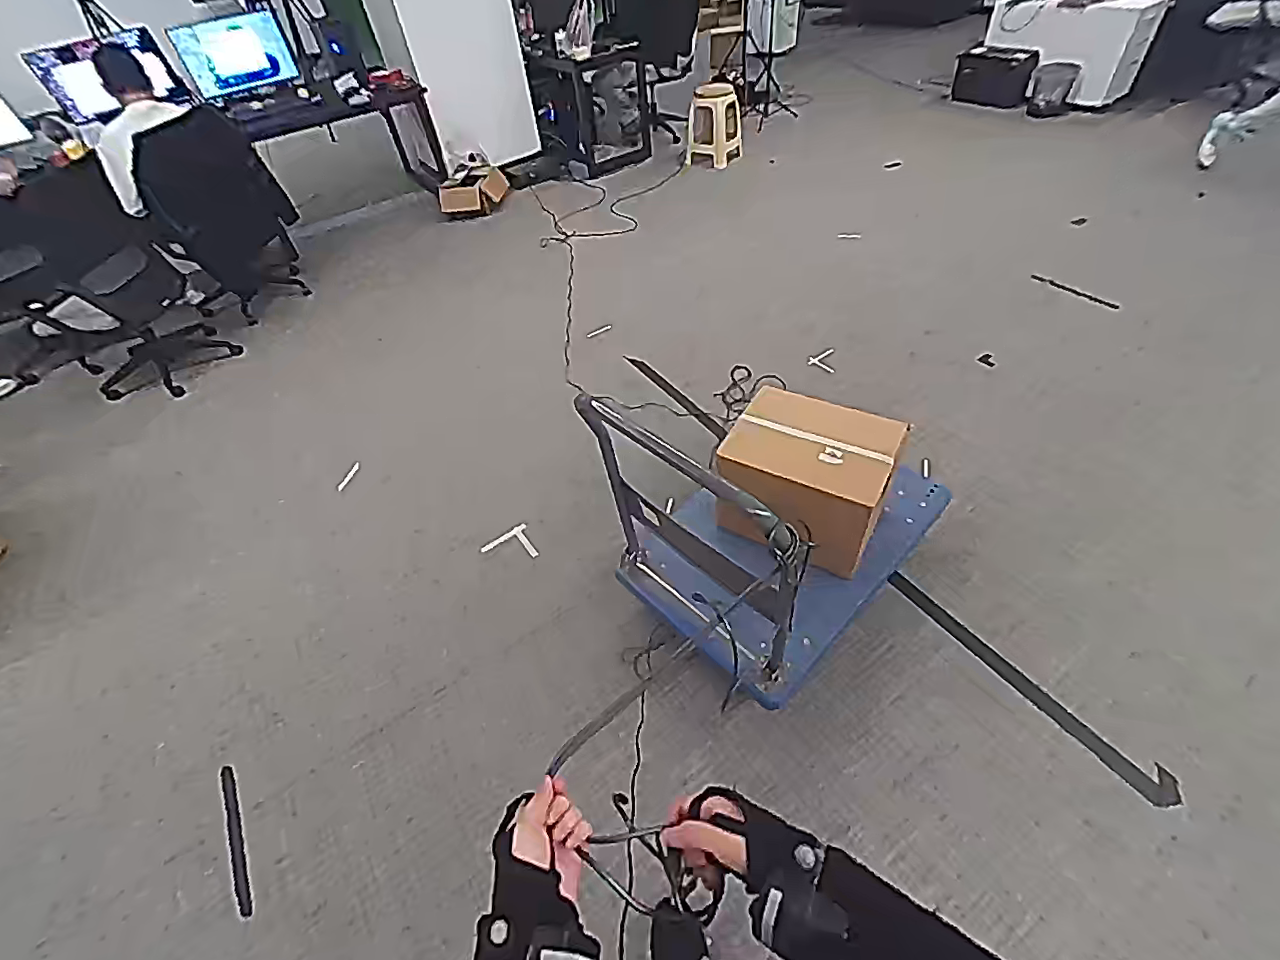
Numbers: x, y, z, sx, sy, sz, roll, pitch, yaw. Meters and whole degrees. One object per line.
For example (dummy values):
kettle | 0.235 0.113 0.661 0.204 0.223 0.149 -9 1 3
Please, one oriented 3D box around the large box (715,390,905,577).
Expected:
large box | 0.450 0.003 1.495 0.408 0.320 0.320 21 55 25
